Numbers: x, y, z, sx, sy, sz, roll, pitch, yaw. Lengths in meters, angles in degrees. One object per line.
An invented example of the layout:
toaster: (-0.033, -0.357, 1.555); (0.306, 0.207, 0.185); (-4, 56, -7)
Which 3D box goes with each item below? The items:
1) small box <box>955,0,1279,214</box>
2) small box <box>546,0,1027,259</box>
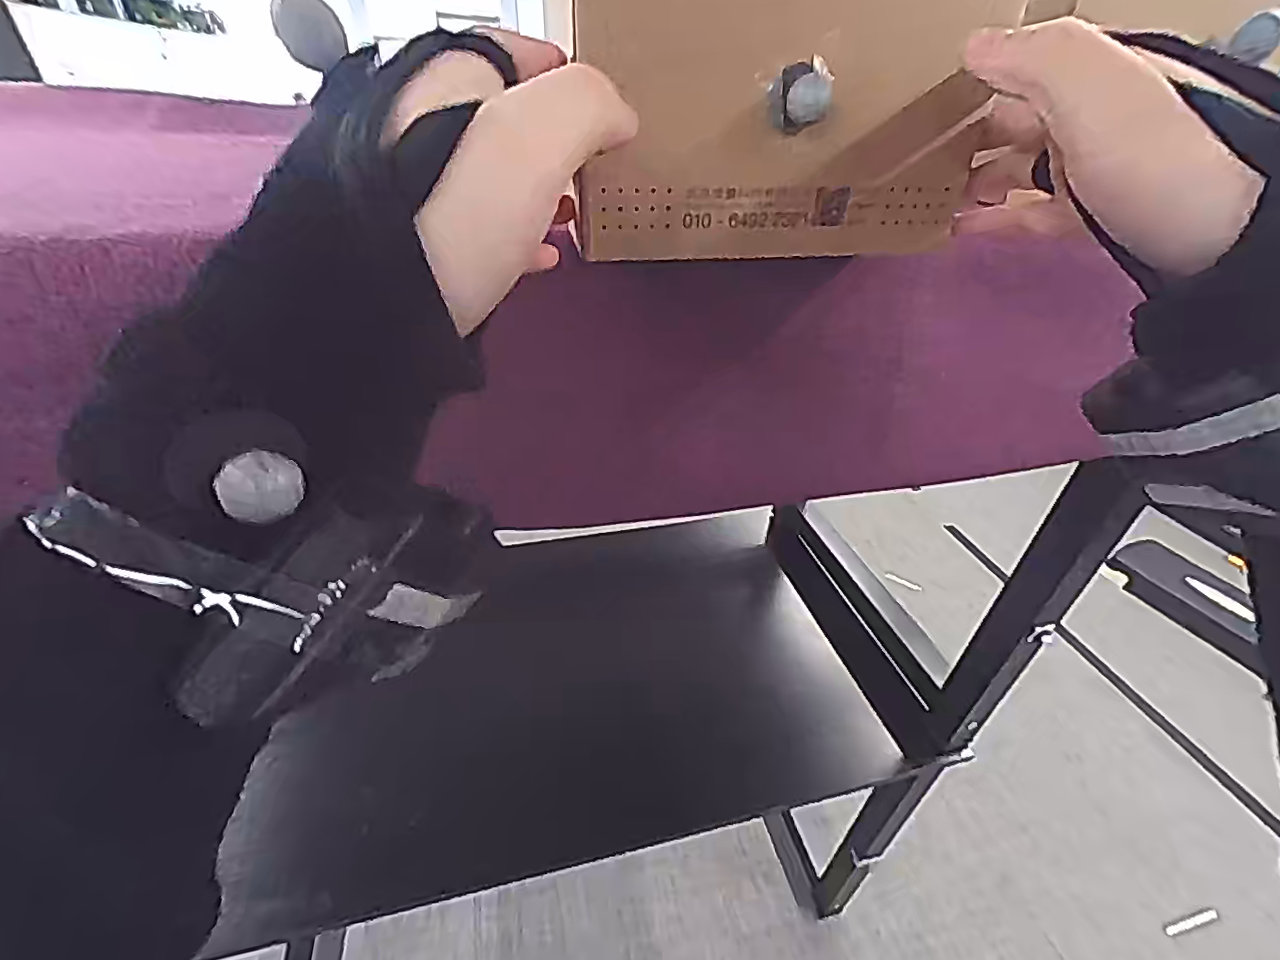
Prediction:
small box: (0.300, -0.293, 0.379); (0.179, 0.176, 0.168); (-6, 36, -10)
small box: (0.043, -0.209, 0.245); (0.168, 0.176, 0.179); (-5, 36, -10)
